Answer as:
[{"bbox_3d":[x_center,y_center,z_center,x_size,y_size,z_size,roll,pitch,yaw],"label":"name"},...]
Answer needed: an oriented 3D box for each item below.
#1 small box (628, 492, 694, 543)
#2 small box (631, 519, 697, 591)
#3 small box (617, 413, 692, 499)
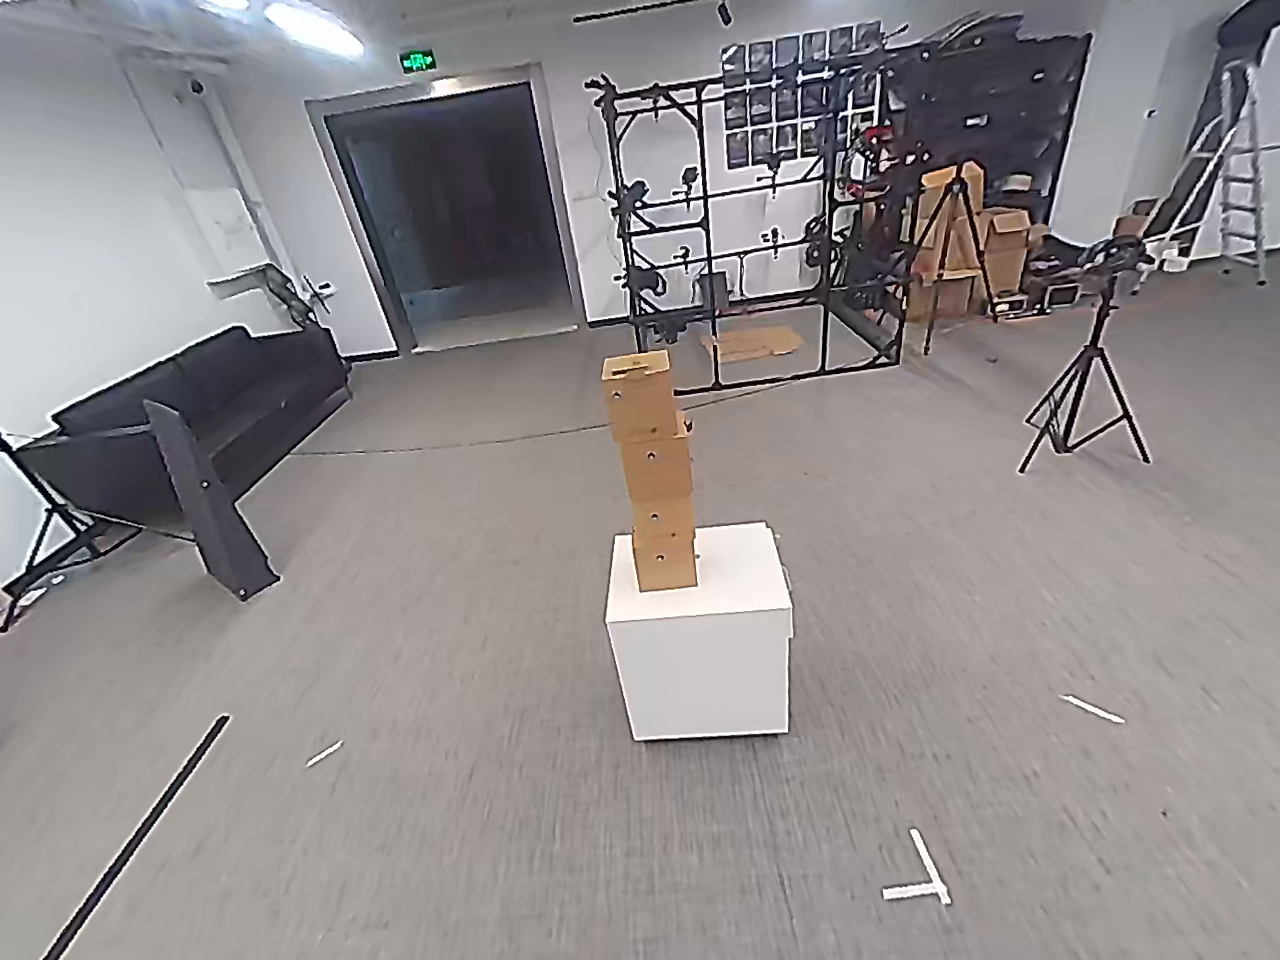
[{"bbox_3d":[0.061,0.069,1.548,0.168,0.176,0.179,-6,30,4],"label":"small box"},{"bbox_3d":[0.070,0.215,1.619,0.179,0.176,0.168,-6,31,3],"label":"small box"},{"bbox_3d":[0.040,-0.062,1.448,0.179,0.176,0.168,-6,31,4],"label":"small box"}]
